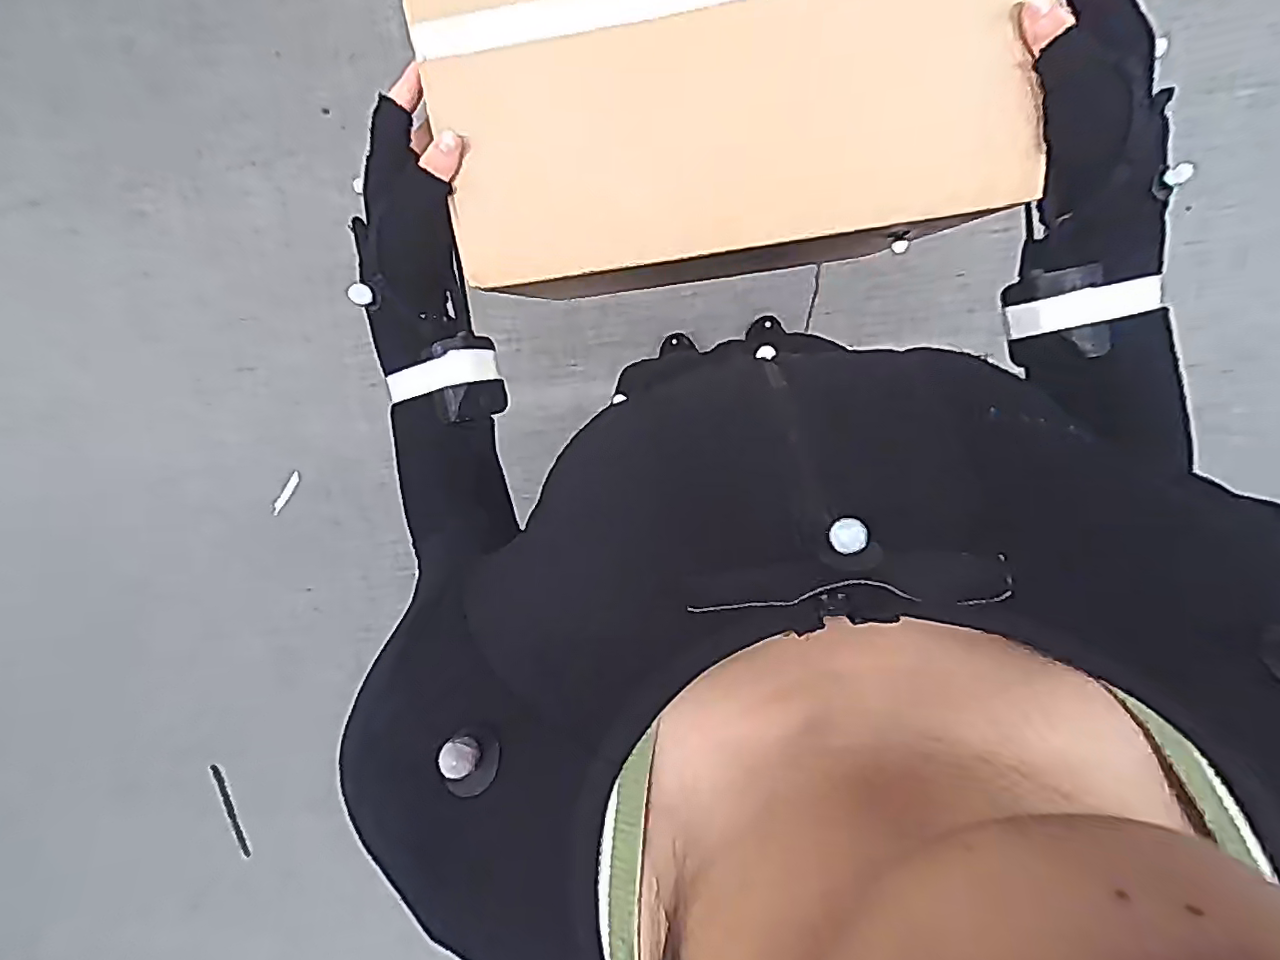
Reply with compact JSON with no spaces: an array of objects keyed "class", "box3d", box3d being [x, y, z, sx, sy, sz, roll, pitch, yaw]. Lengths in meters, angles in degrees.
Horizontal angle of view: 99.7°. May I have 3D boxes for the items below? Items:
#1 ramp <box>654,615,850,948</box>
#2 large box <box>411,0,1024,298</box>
[{"class":"ramp","box3d":[0.329,0.909,1.612,0.509,0.206,0.991,-7,102,7]},{"class":"large box","box3d":[0.055,-0.358,0.496,0.408,0.320,0.320,-7,106,4]}]
